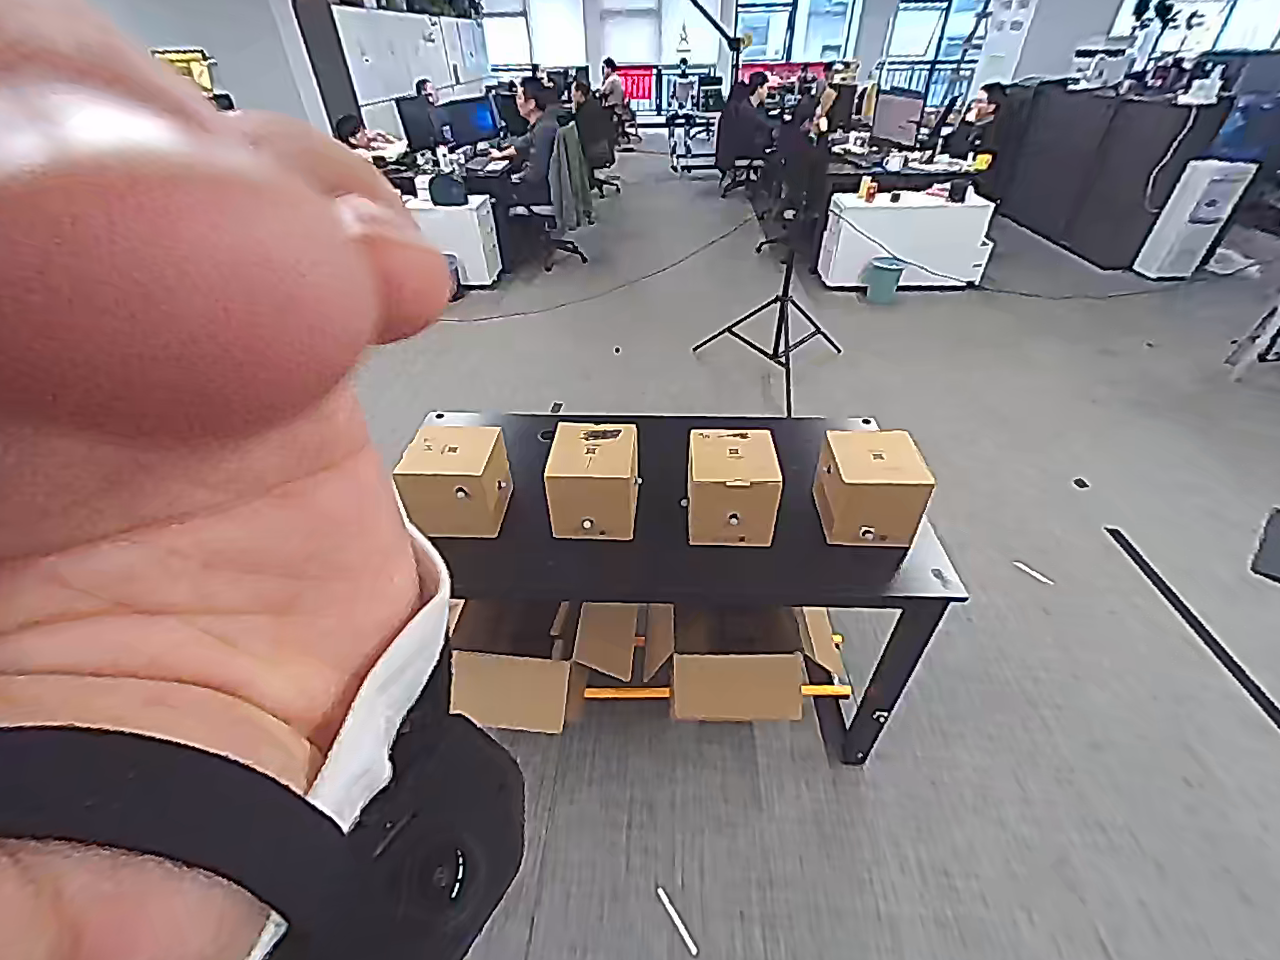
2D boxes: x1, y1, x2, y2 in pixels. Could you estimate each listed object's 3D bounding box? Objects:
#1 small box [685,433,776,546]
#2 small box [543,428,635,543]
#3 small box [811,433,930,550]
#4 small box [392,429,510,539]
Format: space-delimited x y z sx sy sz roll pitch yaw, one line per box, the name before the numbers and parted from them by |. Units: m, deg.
small box | 0.178 0.021 1.110 0.168 0.176 0.179 1 39 3
small box | -0.097 0.010 1.129 0.168 0.176 0.179 1 39 3
small box | 0.455 0.021 1.101 0.168 0.176 0.179 0 39 4
small box | -0.383 0.010 1.133 0.179 0.176 0.168 1 38 2
